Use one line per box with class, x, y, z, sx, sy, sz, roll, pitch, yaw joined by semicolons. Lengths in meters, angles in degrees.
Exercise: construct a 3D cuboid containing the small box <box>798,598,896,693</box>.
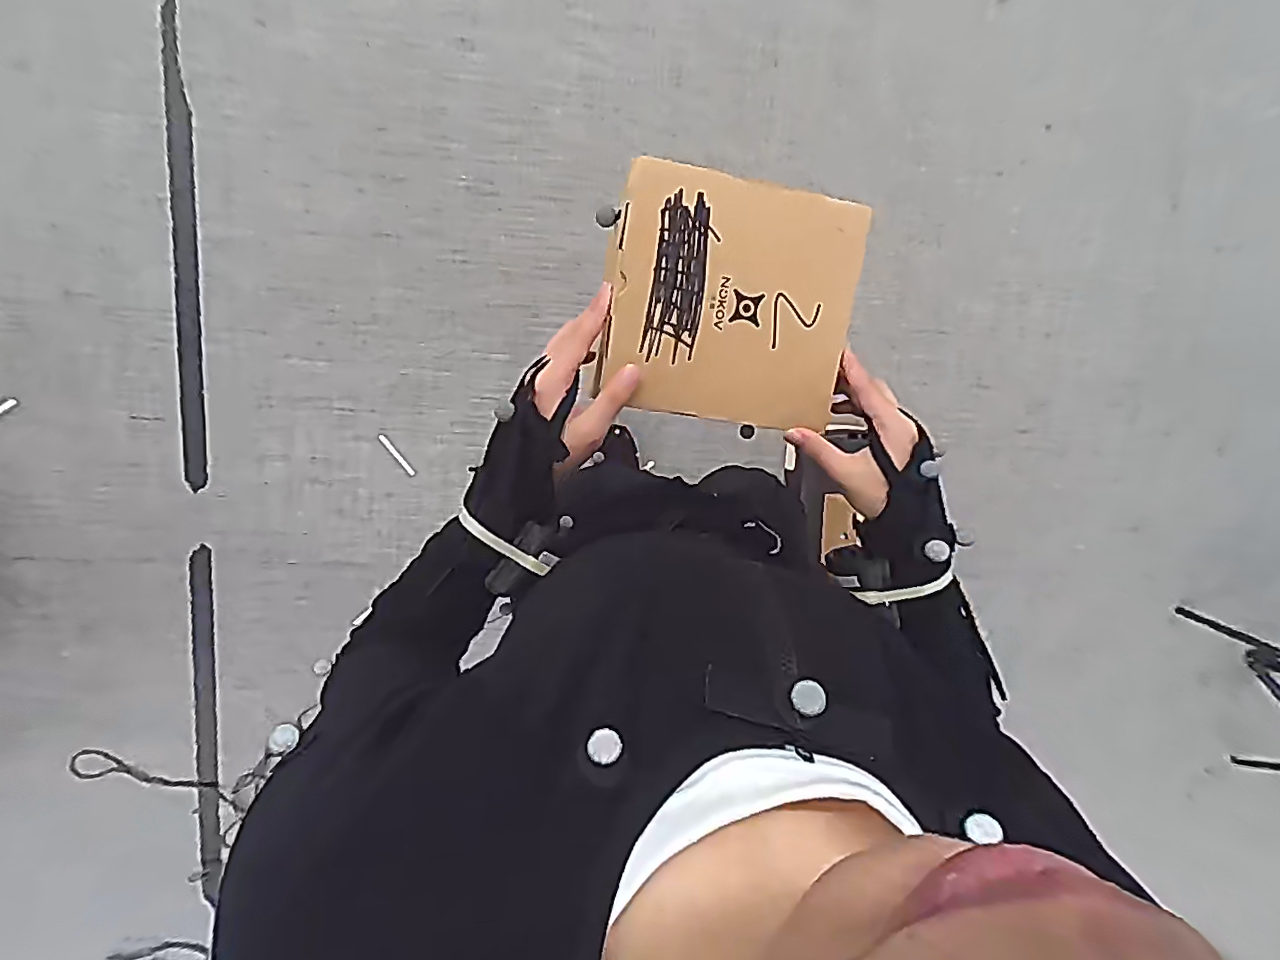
small box;0.501;0.390;1.300;0.179;0.176;0.168;0;99;-6
